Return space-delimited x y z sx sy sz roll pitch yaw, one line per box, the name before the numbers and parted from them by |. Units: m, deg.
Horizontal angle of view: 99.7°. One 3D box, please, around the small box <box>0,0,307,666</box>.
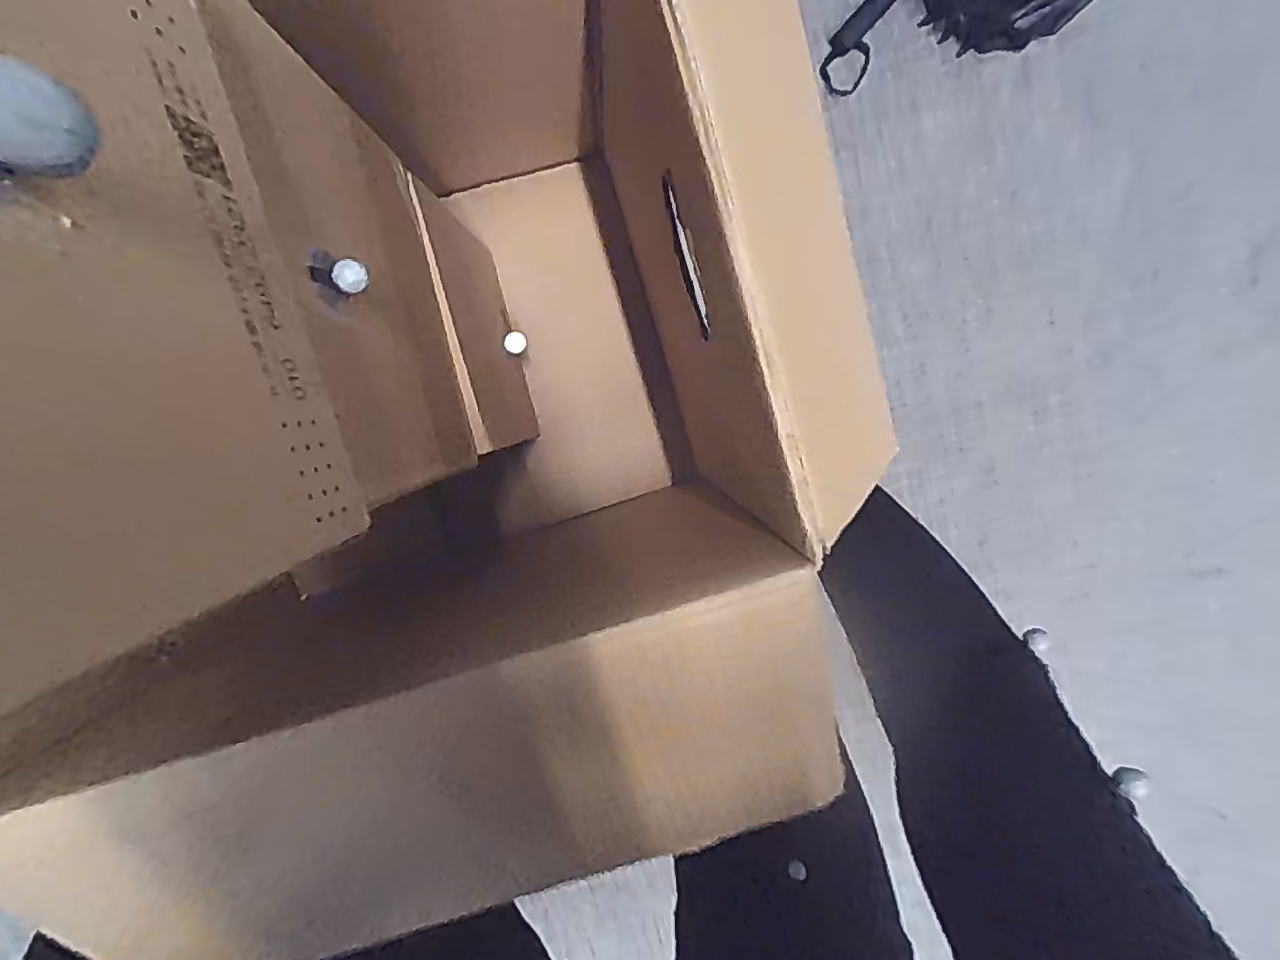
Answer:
small box | -0.184 -0.035 0.074 0.179 0.176 0.168 -15 98 0
